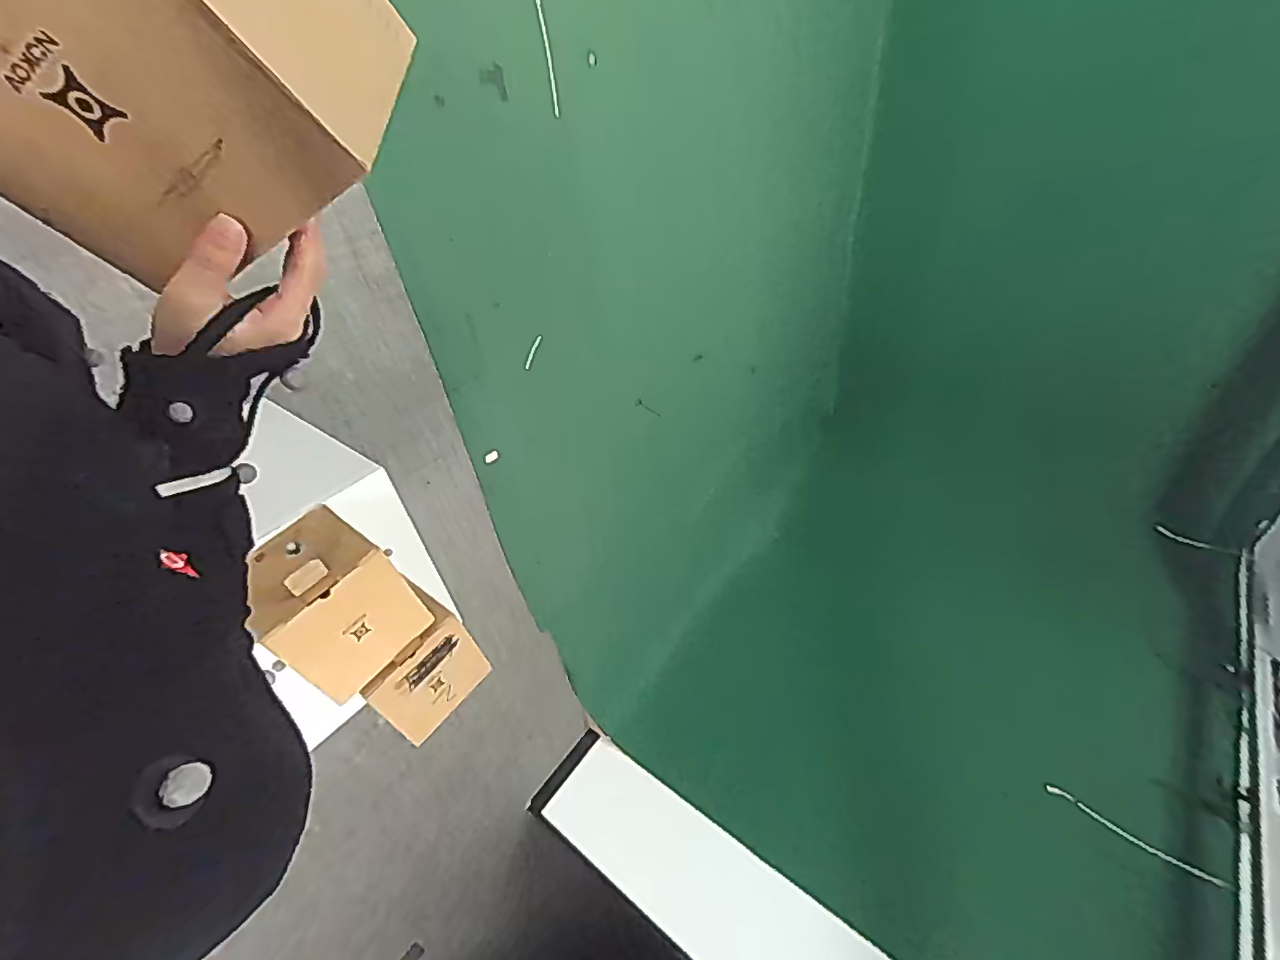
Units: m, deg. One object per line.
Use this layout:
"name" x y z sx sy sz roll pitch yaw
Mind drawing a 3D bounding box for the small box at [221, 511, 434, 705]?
"small box" -0.436 0.173 0.767 0.168 0.176 0.179 -45 141 -30
